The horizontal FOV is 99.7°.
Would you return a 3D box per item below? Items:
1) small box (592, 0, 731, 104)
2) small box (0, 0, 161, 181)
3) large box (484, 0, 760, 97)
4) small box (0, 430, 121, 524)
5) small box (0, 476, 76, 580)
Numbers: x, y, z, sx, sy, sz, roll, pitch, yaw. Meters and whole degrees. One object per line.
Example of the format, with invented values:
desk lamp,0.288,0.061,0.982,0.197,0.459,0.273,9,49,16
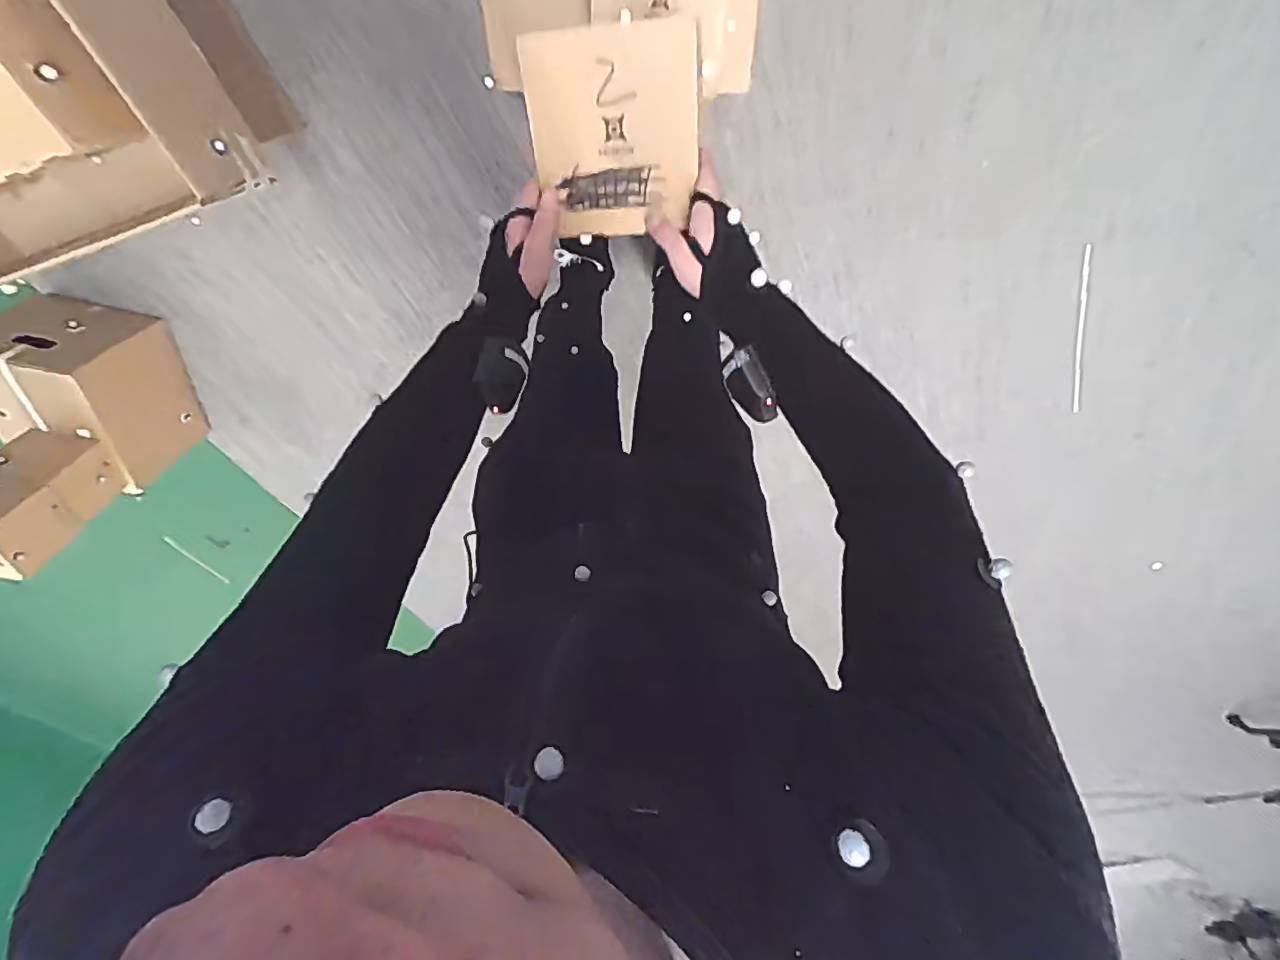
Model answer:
small box,0.032,-0.614,0.700,0.168,0.176,0.179,6,133,0
small box,-0.813,-0.527,0.713,0.168,0.176,0.179,-9,132,13
large box,-0.016,-0.817,0.853,0.408,0.320,0.320,3,132,4
small box,-1.507,-0.008,1.381,0.179,0.176,0.168,10,132,-6
small box,-1.506,0.103,1.259,0.179,0.176,0.168,11,132,-5
